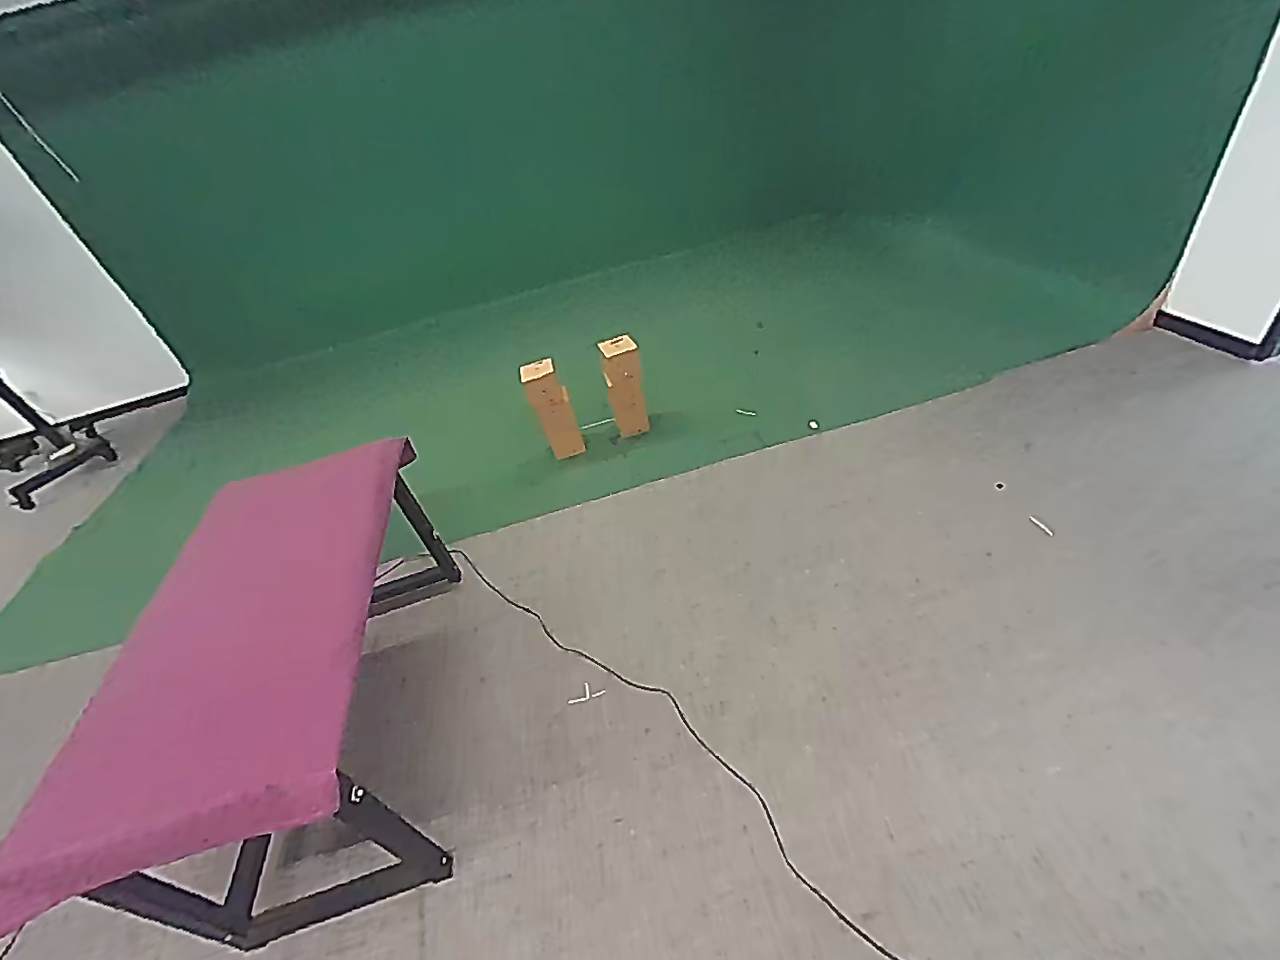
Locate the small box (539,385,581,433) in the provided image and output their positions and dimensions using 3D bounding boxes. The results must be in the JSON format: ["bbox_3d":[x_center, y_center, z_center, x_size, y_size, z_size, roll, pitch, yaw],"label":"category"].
[{"bbox_3d":[-0.423,-0.366,2.828,0.179,0.176,0.168,-18,39,-3],"label":"small box"}]

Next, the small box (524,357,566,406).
[{"bbox_3d":[-0.480,-0.493,2.737,0.168,0.176,0.179,-18,39,-2],"label":"small box"}]

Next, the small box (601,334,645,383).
[{"bbox_3d":[-0.086,-0.619,2.760,0.168,0.176,0.179,-20,41,-8],"label":"small box"}]

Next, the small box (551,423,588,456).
[{"bbox_3d":[-0.387,-0.246,2.934,0.168,0.176,0.179,-18,38,-3],"label":"small box"}]

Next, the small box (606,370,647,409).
[{"bbox_3d":[-0.069,-0.492,2.863,0.168,0.176,0.179,-16,39,-4],"label":"small box"}]
